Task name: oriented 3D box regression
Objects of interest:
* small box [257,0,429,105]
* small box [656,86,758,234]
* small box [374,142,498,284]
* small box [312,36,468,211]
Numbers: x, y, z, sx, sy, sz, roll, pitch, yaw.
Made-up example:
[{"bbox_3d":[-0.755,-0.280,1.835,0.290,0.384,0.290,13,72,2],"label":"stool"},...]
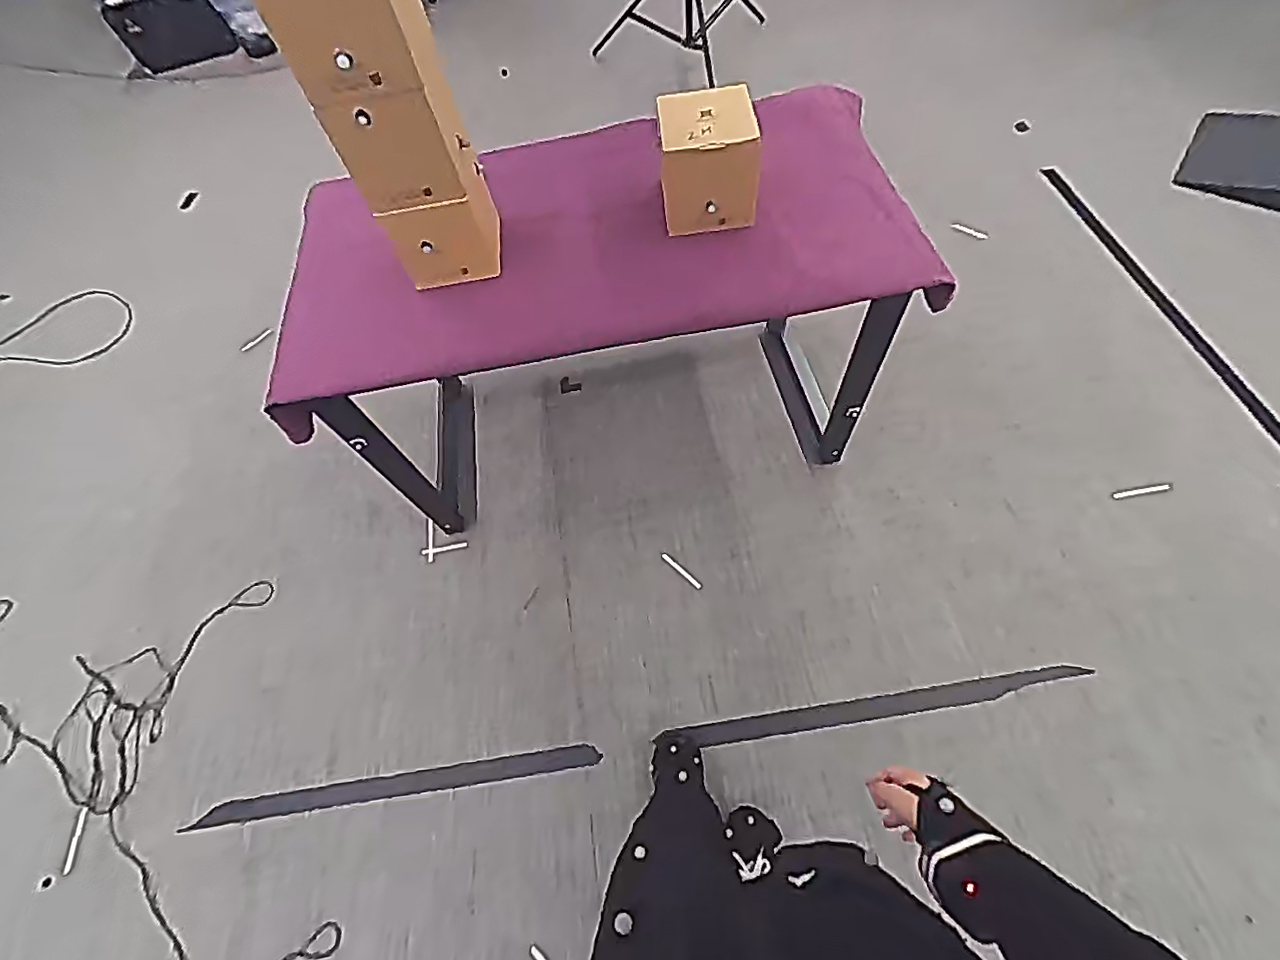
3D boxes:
[{"bbox_3d":[-0.400,-0.648,0.729,0.168,0.176,0.179,-9,62,1],"label":"small box"},{"bbox_3d":[0.121,-0.595,1.016,0.168,0.176,0.179,-6,62,4],"label":"small box"},{"bbox_3d":[-0.372,-0.491,1.016,0.168,0.176,0.179,-10,61,1],"label":"small box"},{"bbox_3d":[-0.389,-0.573,0.875,0.168,0.176,0.179,-10,61,1],"label":"small box"}]
